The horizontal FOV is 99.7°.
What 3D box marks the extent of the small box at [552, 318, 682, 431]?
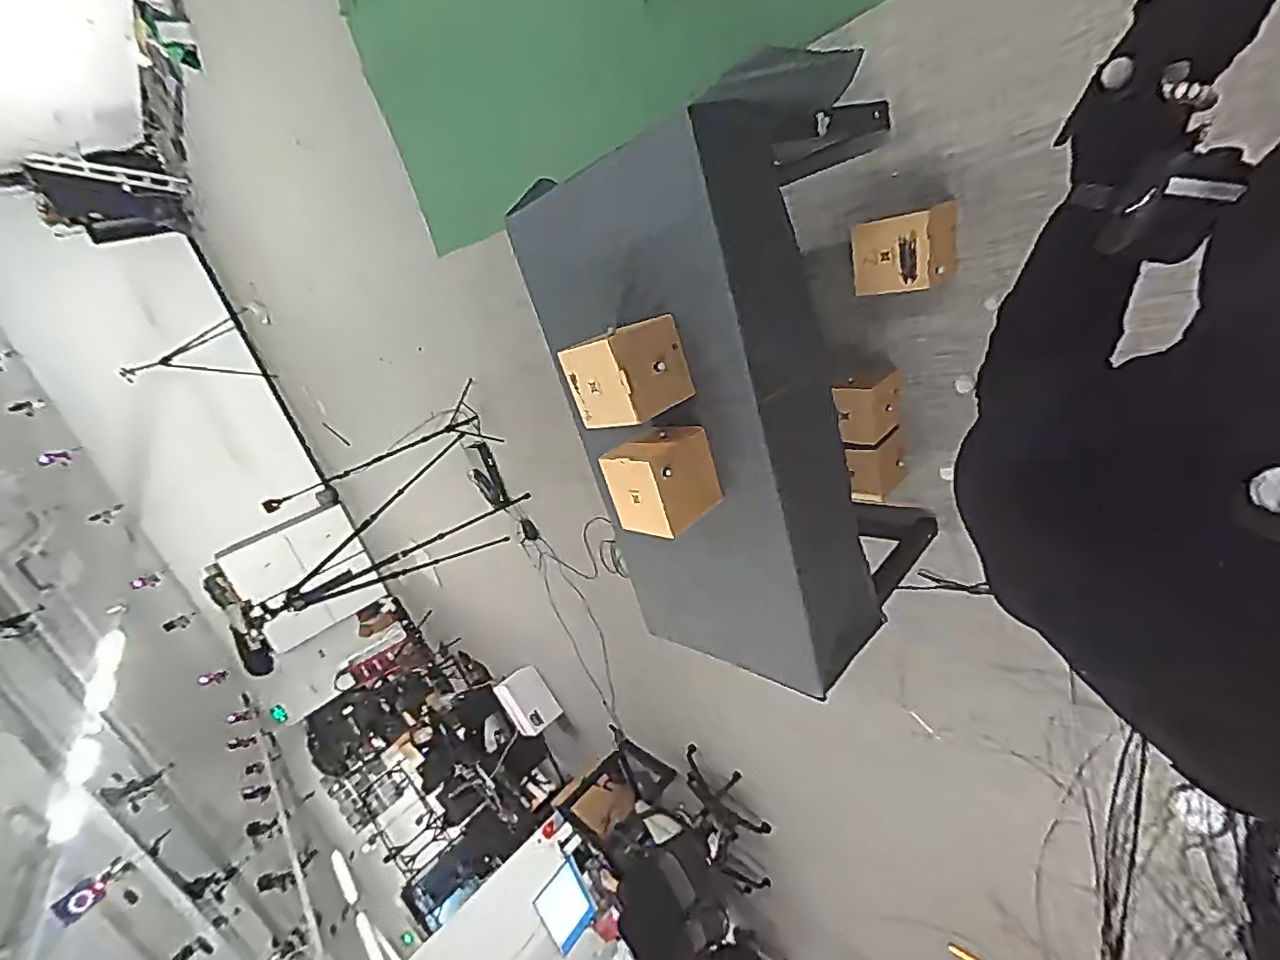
[{"bbox_3d":[-0.037,-0.207,1.063,0.179,0.176,0.168,2,117,49],"label":"small box"}]
